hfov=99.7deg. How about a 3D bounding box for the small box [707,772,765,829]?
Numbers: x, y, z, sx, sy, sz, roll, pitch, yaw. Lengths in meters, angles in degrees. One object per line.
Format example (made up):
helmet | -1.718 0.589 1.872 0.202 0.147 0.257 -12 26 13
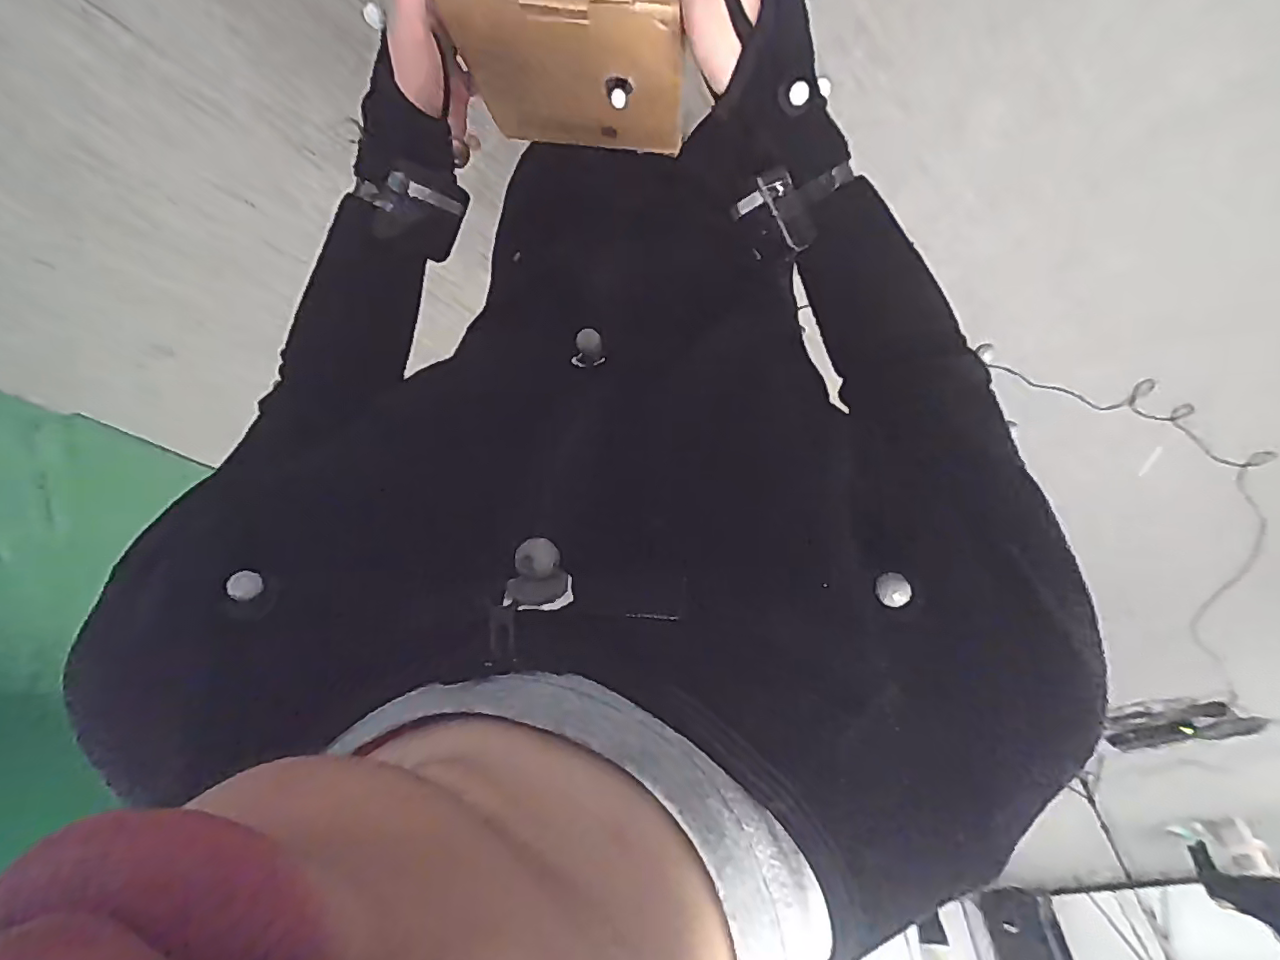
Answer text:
small box | 0.396 1.346 2.274 0.168 0.176 0.179 28 130 -25
